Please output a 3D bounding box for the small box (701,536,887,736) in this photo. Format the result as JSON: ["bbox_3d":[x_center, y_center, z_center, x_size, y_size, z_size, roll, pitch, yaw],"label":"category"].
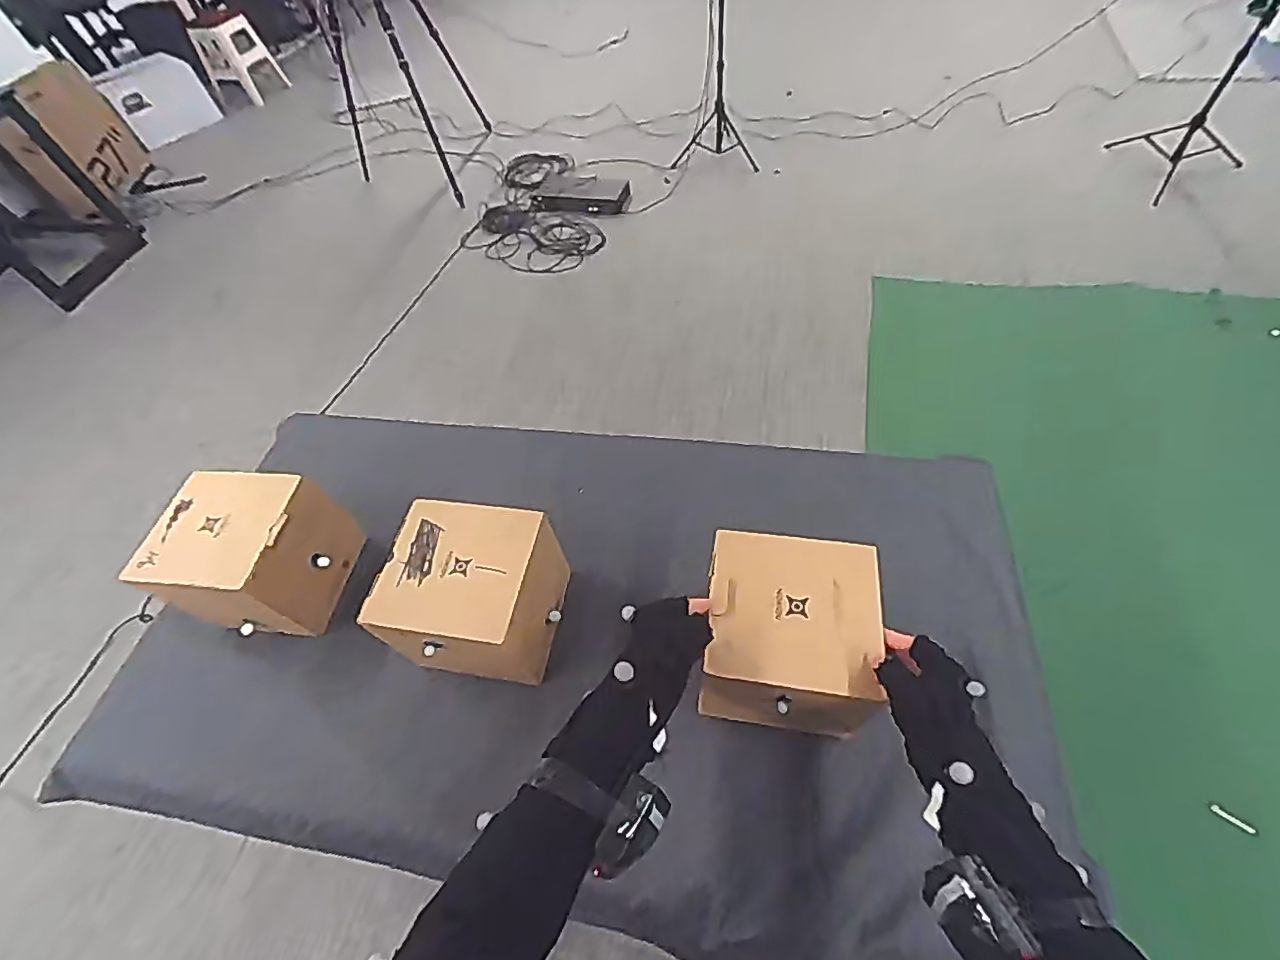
[{"bbox_3d":[0.165,0.183,0.625,0.179,0.176,0.168,6,55,9],"label":"small box"}]

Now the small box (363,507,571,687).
[{"bbox_3d":[-0.203,0.153,0.693,0.179,0.176,0.168,5,56,10],"label":"small box"}]

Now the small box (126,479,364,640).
[{"bbox_3d":[-0.529,0.116,0.759,0.179,0.176,0.168,3,55,8],"label":"small box"}]
